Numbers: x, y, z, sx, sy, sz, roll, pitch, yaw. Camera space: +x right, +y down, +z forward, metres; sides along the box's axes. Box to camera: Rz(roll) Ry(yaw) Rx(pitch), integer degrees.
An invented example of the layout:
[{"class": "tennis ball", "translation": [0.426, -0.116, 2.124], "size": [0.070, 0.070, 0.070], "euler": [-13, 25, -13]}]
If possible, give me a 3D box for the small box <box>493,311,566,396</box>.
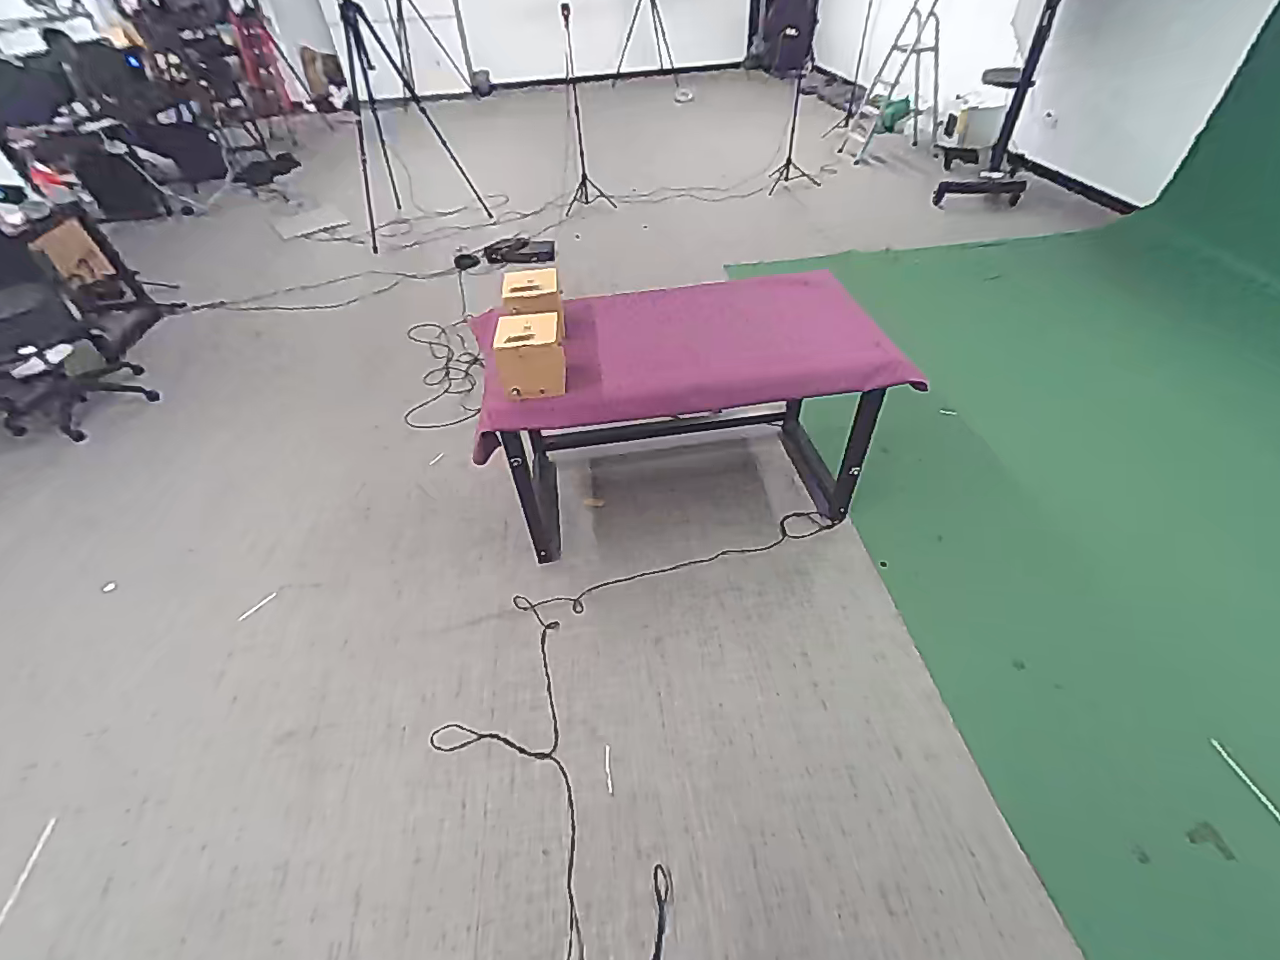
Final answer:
[{"class": "small box", "translation": [-0.301, -0.347, 1.507], "size": [0.168, 0.176, 0.179], "euler": [-5, 44, -2]}]
